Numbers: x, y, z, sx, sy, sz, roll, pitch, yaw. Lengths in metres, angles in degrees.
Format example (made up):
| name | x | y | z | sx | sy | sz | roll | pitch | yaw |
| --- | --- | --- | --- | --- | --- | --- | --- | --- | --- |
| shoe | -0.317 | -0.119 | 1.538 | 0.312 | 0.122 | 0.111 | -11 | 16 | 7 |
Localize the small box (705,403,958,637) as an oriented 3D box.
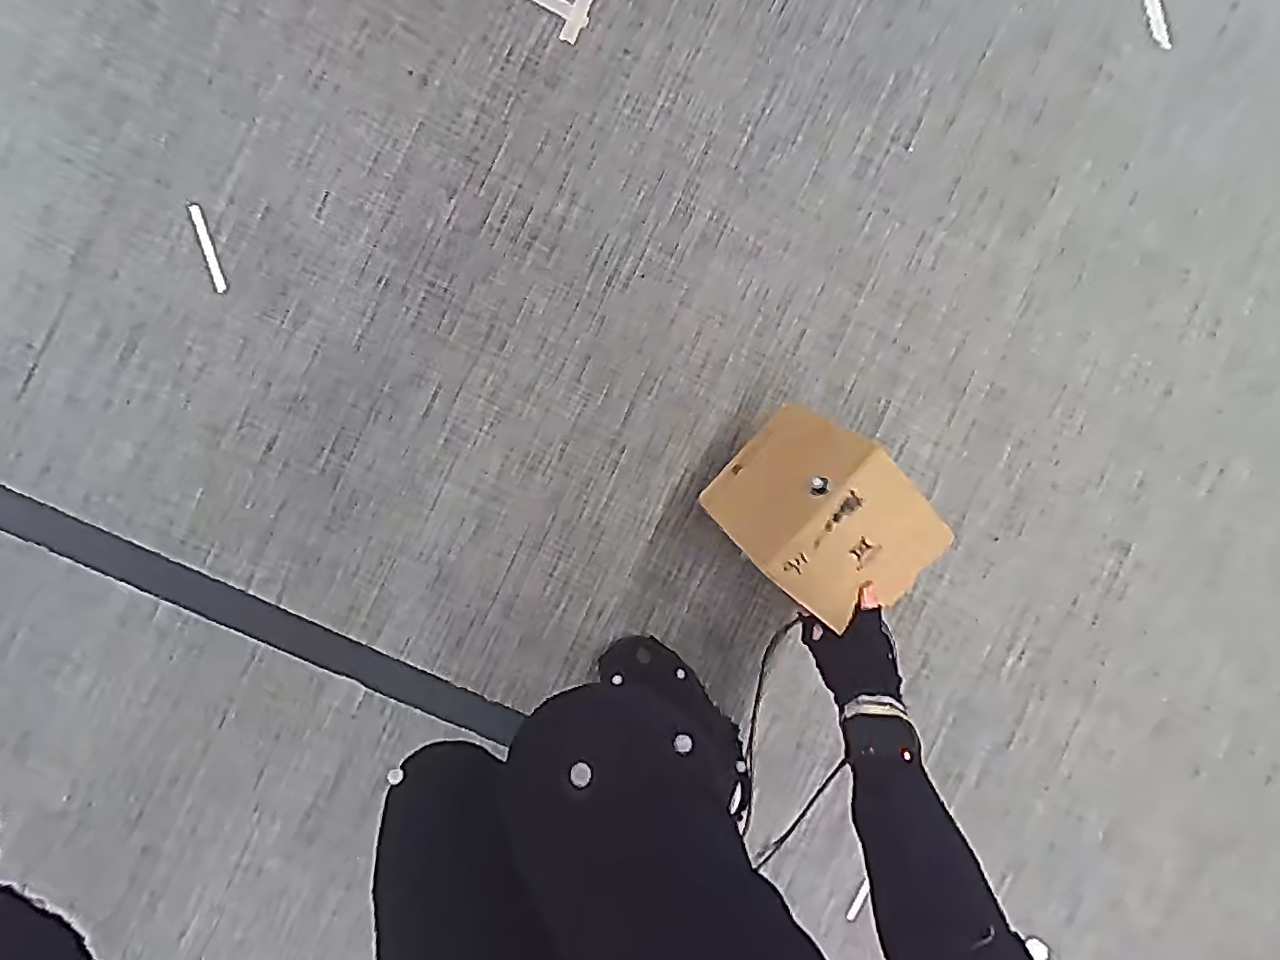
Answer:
| name | x | y | z | sx | sy | sz | roll | pitch | yaw |
| --- | --- | --- | --- | --- | --- | --- | --- | --- | --- |
| small box | 0.208 | 0.038 | 0.617 | 0.179 | 0.176 | 0.168 | 38 | 100 | -31 |
